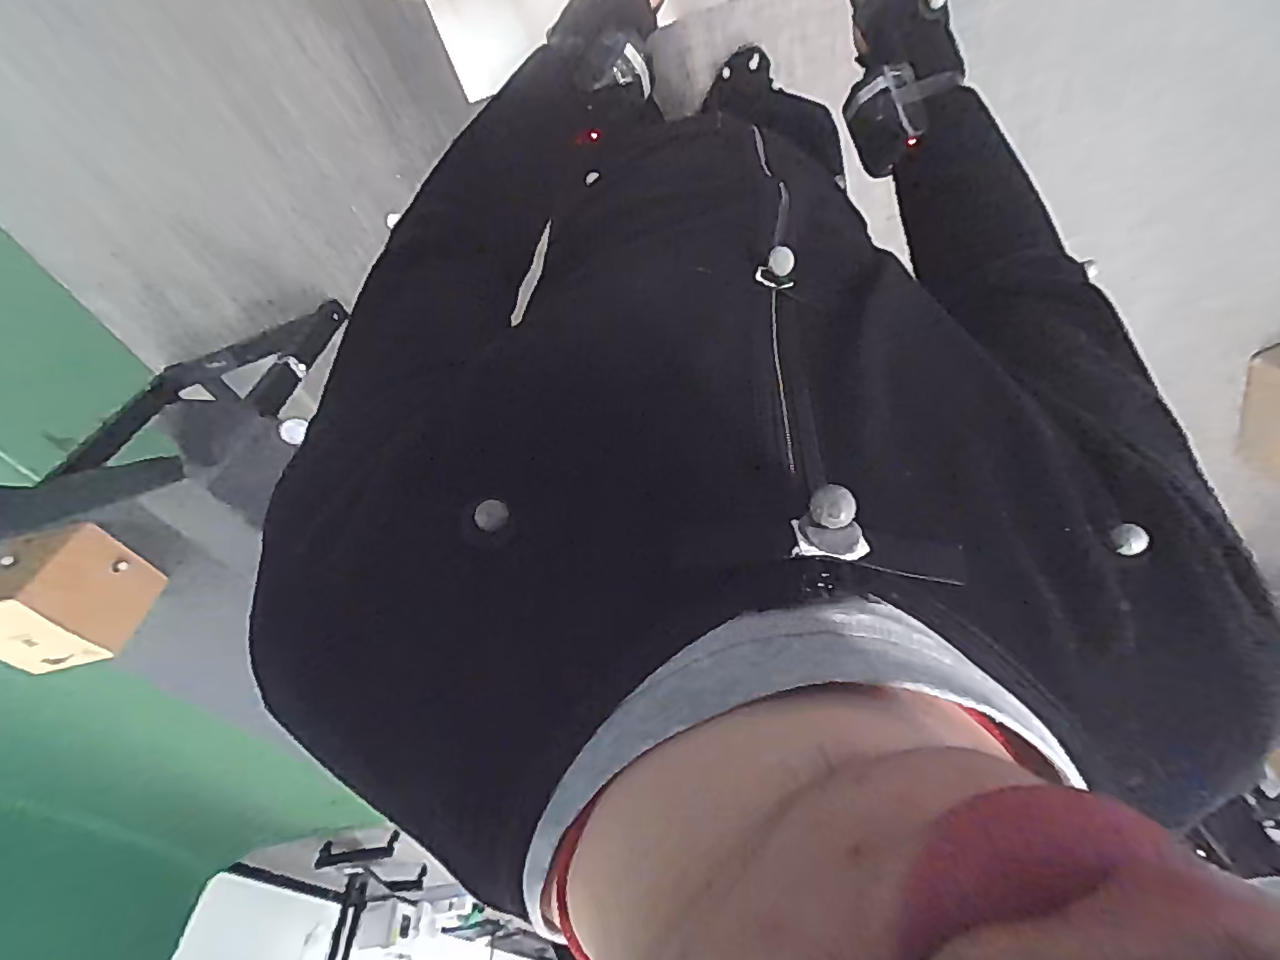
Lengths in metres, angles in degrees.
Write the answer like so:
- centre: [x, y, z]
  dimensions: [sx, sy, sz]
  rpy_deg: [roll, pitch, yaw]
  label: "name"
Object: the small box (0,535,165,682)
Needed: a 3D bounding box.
- centre: [-0.984, 0.210, 0.917]
  dimensions: [0.168, 0.176, 0.179]
  rpy_deg: [-14, 132, 6]
  label: "small box"
